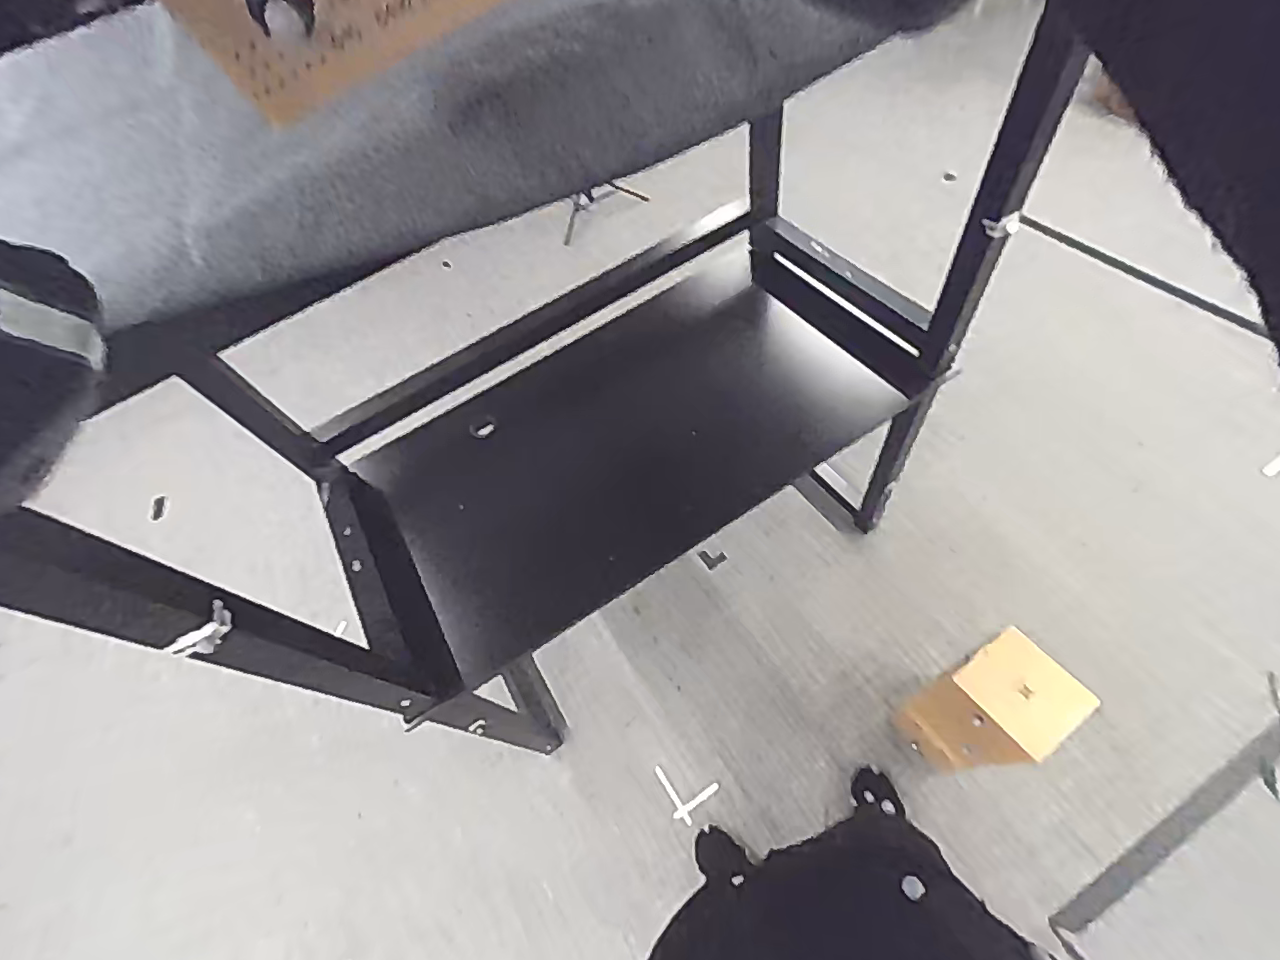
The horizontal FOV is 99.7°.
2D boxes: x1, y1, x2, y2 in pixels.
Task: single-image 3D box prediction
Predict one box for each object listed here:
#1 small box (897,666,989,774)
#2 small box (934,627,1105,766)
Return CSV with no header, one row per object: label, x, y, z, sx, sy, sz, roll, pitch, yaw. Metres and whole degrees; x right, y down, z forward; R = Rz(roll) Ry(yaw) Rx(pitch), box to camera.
small box,0.754,0.581,1.305,0.179,0.176,0.168,-34,58,-9
small box,0.705,0.415,1.027,0.168,0.176,0.179,-35,59,-10
